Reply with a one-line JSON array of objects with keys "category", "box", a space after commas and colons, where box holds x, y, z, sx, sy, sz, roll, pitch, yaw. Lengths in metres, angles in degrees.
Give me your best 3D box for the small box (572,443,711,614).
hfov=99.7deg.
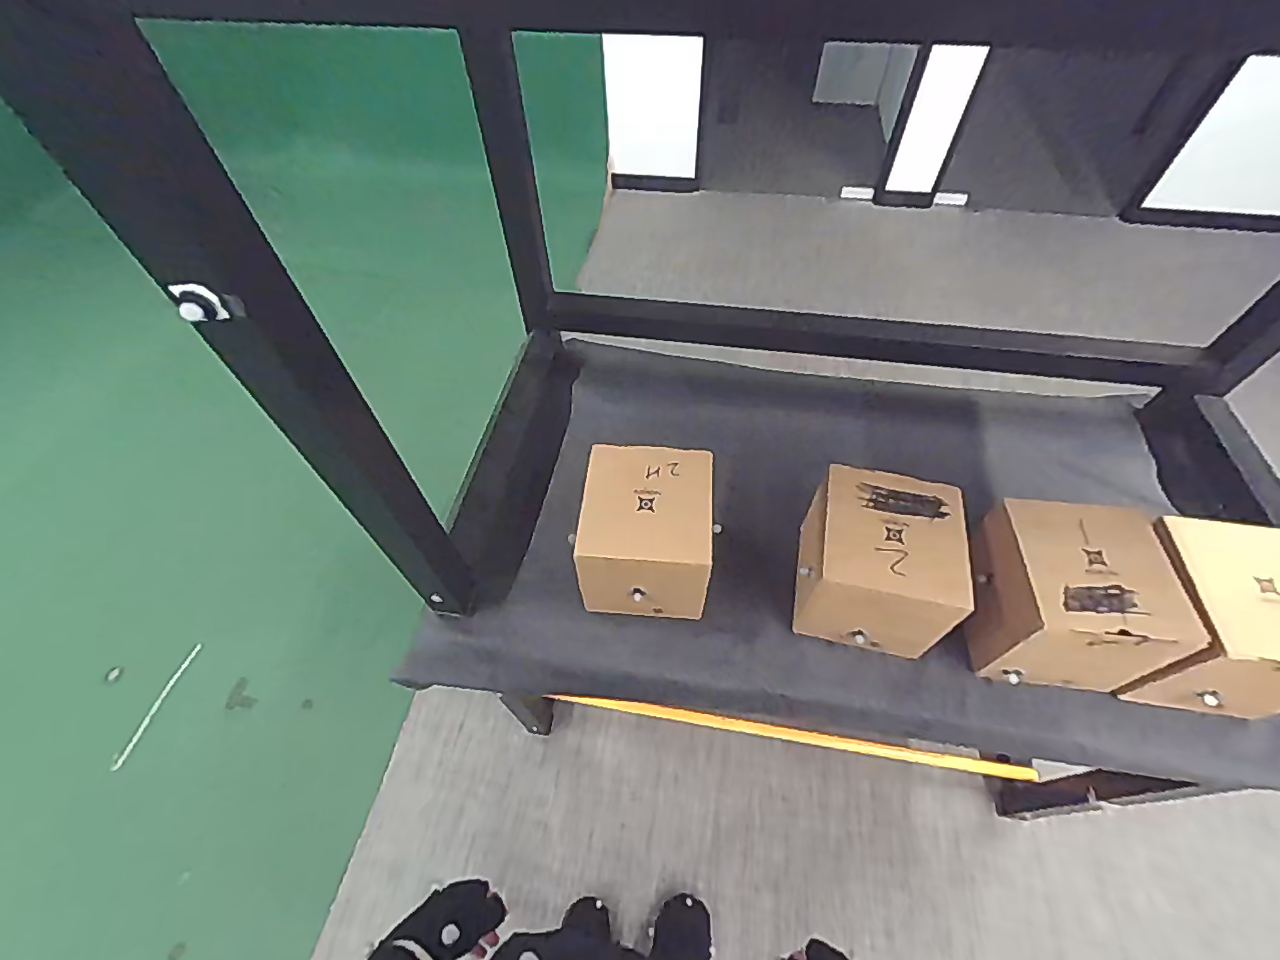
[{"category": "small box", "box": [0.009, 0.072, 0.748, 0.168, 0.176, 0.179, 4, 53, 3]}]
